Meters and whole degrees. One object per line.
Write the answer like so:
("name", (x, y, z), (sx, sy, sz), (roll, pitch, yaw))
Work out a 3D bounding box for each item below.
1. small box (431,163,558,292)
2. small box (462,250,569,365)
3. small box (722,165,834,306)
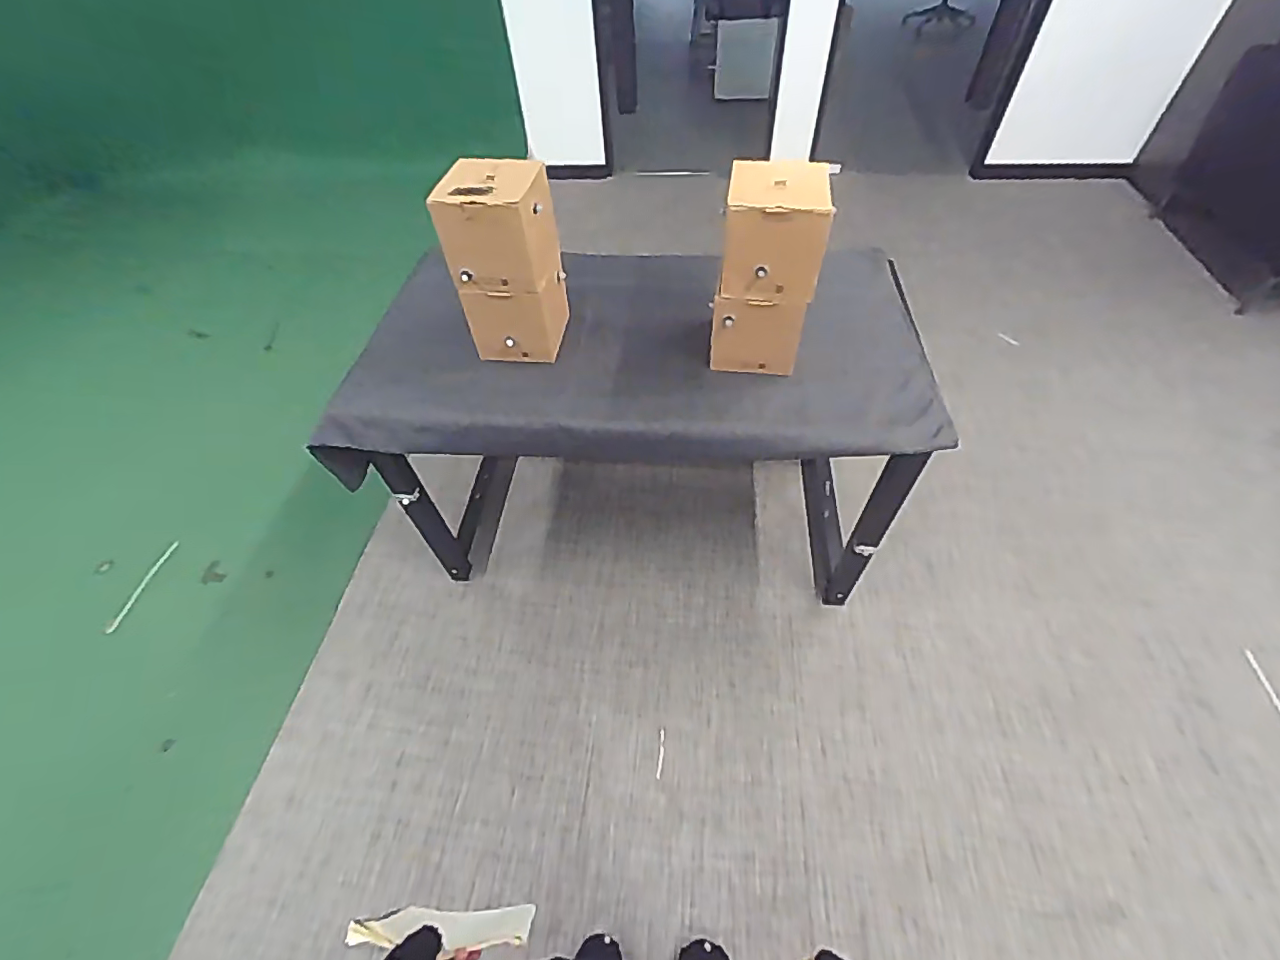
("small box", (-0.259, -0.473, 1.019), (0.168, 0.176, 0.179), (5, 51, 6))
("small box", (-0.251, -0.368, 1.145), (0.168, 0.176, 0.179), (4, 52, 6))
("small box", (0.241, -0.438, 0.971), (0.168, 0.176, 0.179), (6, 52, 7))
